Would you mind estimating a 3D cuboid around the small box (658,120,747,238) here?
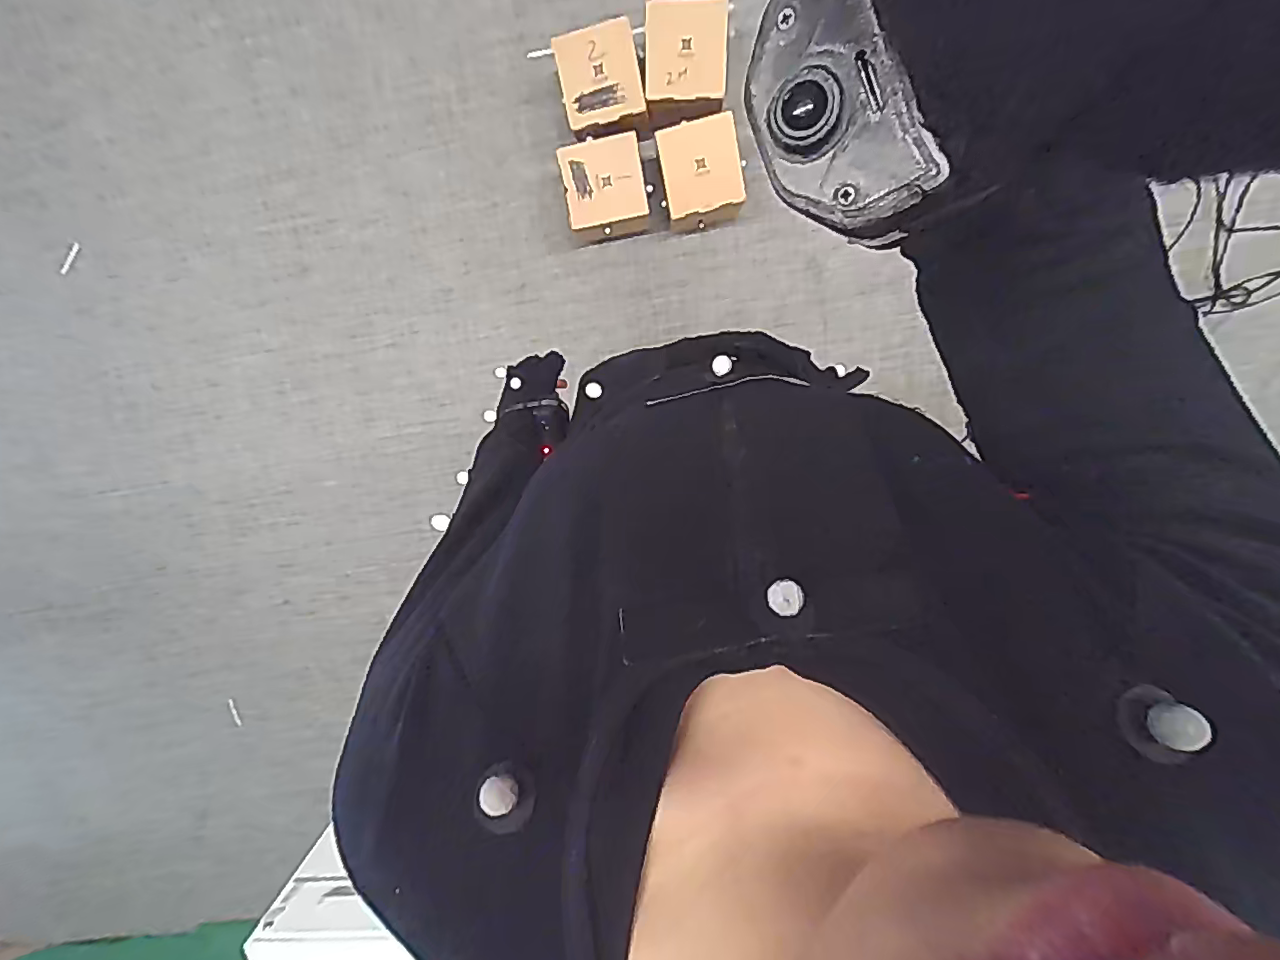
[{"bbox_3d":[0.138,-0.672,1.225,0.168,0.176,0.179,-11,104,7],"label":"small box"}]
